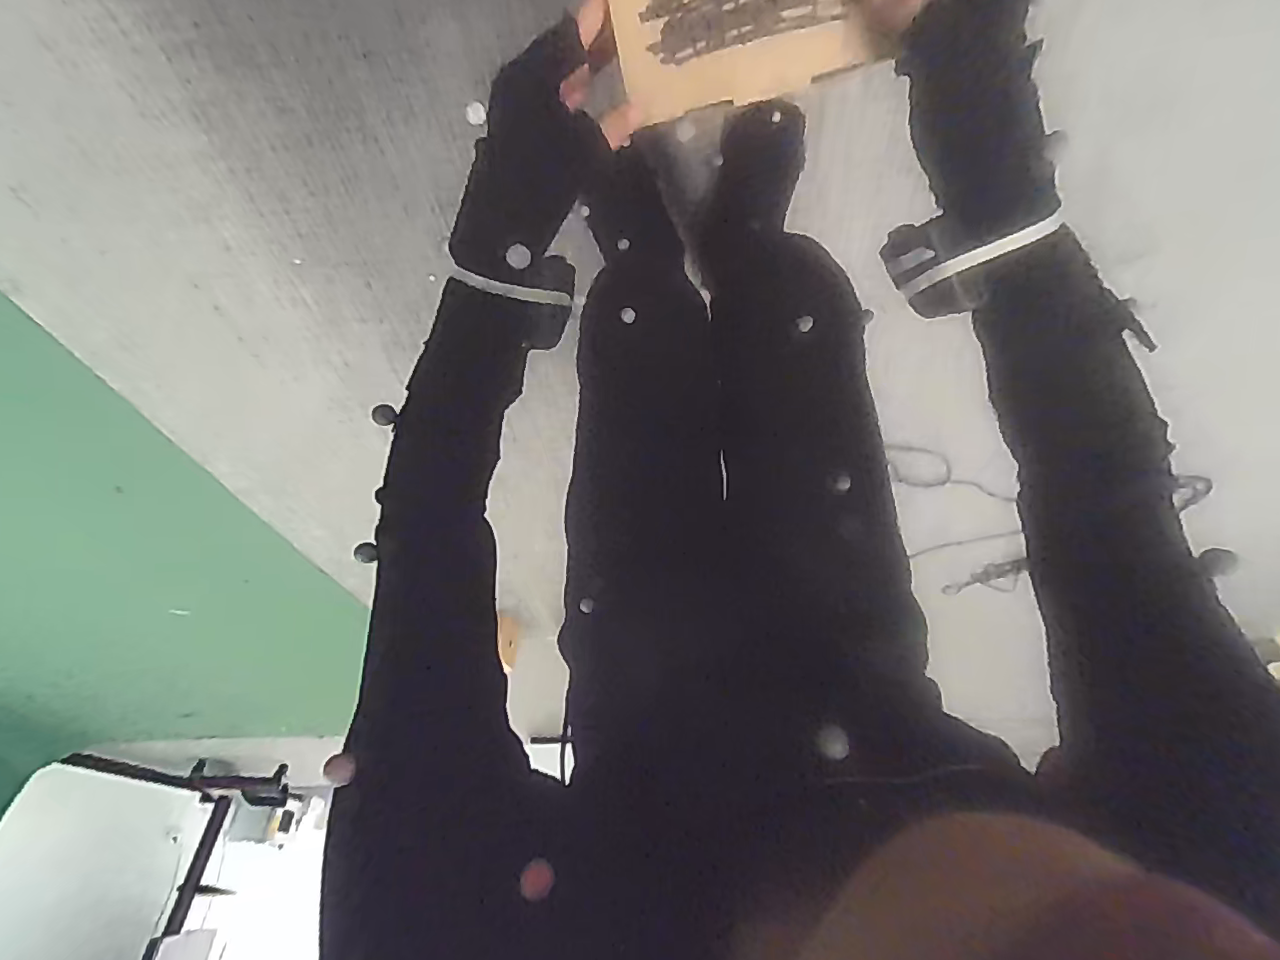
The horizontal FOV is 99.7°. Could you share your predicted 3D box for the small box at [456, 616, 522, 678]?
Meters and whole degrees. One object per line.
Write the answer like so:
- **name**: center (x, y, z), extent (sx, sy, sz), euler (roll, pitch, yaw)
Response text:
- **small box**: center (-0.543, 0.604, 1.969), extent (0.168, 0.176, 0.179), euler (-6, 141, 9)
